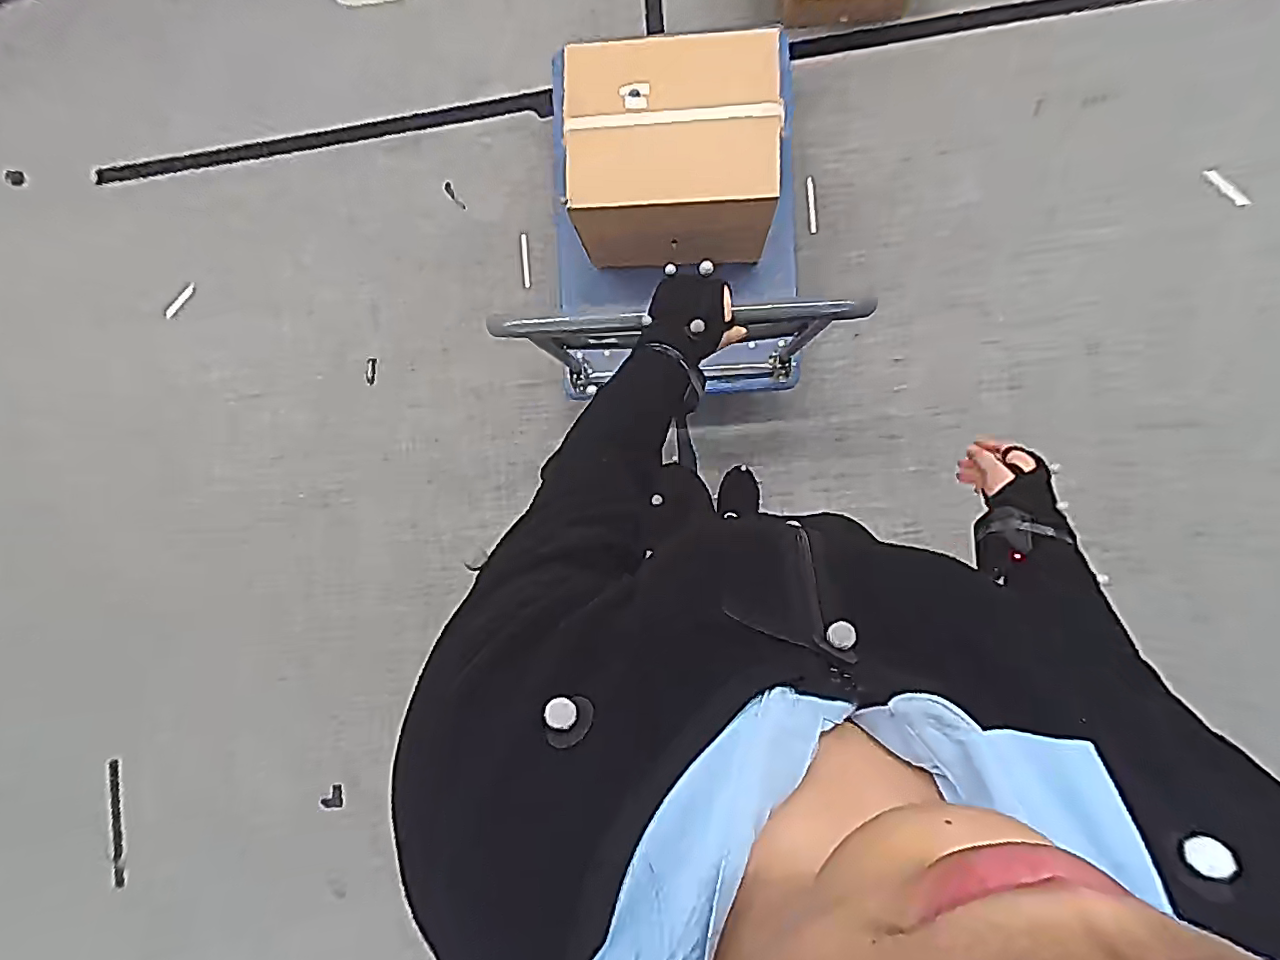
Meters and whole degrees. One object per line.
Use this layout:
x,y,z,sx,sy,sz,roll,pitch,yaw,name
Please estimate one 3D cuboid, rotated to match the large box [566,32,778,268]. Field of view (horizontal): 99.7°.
0.075,-0.680,1.178,0.408,0.320,0.320,-1,89,7,large box
